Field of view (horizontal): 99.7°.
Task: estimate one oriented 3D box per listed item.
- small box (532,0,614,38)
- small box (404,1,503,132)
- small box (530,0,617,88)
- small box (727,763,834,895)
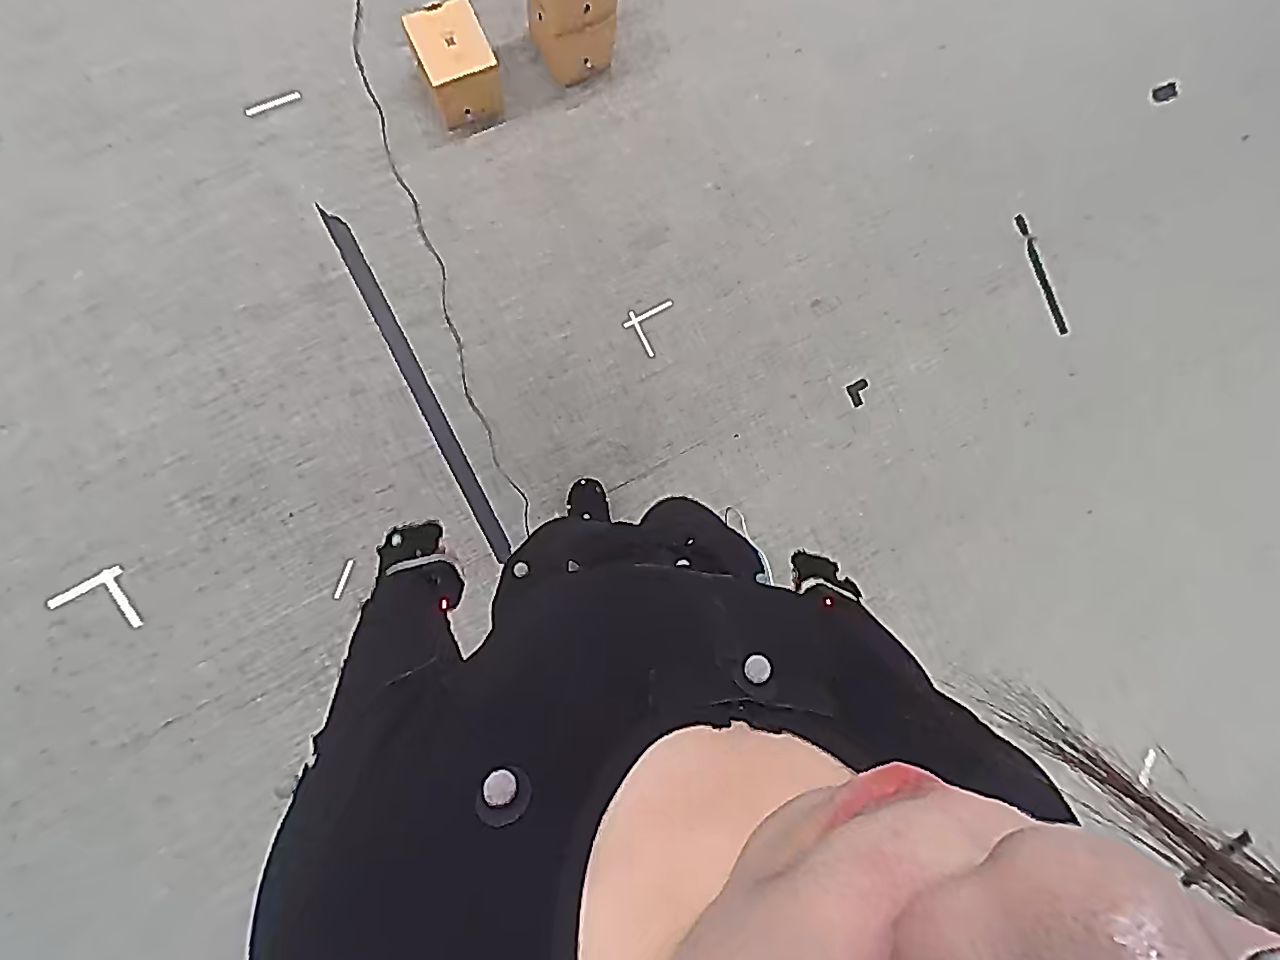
[{"bbox_3d":[-0.160,-1.173,1.233,0.179,0.176,0.168,-30,94,-8],"label":"small box"},{"bbox_3d":[-0.460,-1.026,1.356,0.168,0.176,0.179,-25,95,-7],"label":"small box"},{"bbox_3d":[-0.178,-1.174,1.397,0.168,0.176,0.179,-29,95,-7],"label":"small box"},{"bbox_3d":[0.324,0.824,1.295,0.179,0.176,0.168,-23,94,-8],"label":"small box"}]
